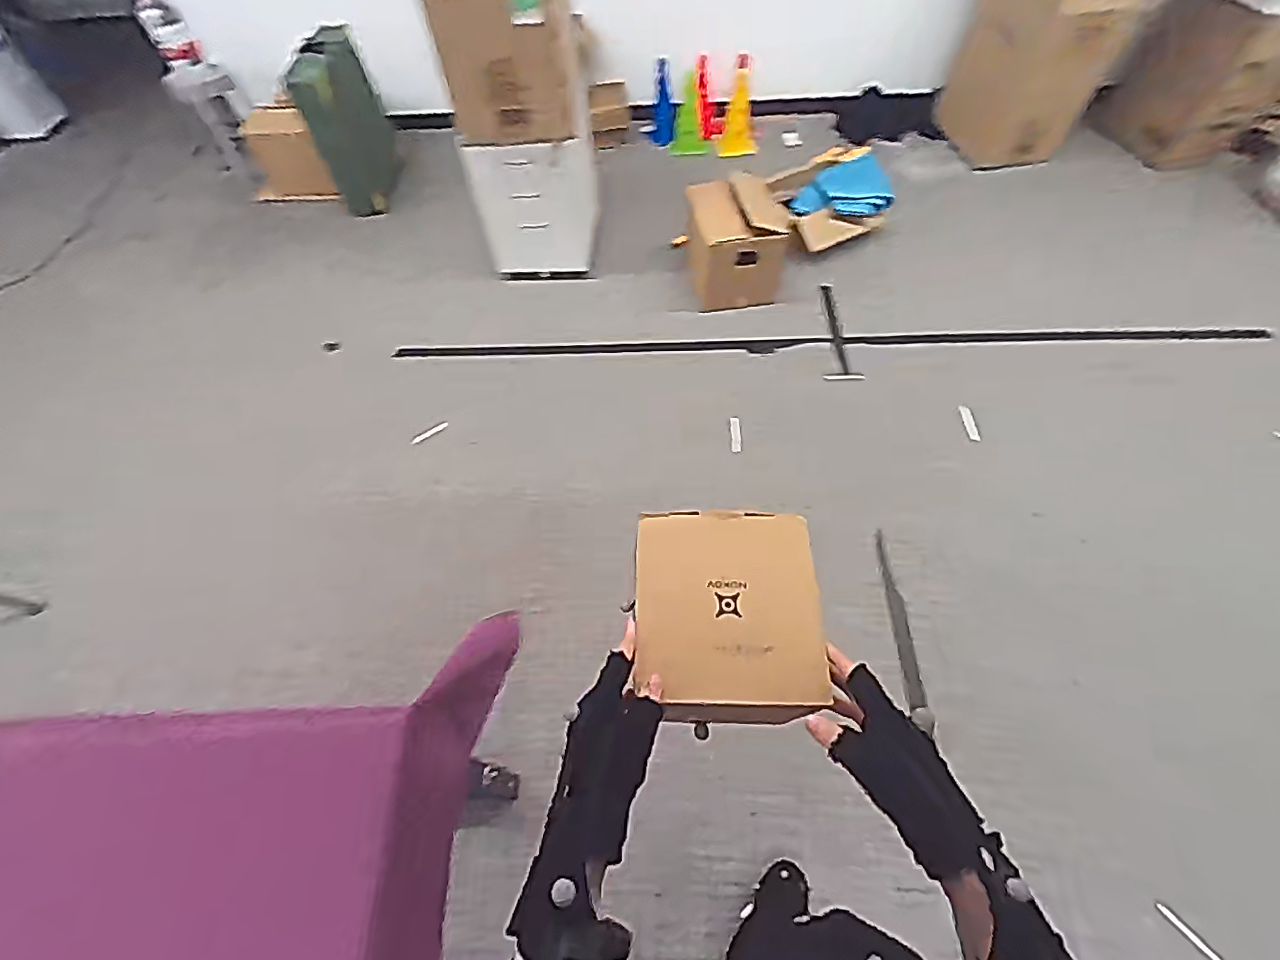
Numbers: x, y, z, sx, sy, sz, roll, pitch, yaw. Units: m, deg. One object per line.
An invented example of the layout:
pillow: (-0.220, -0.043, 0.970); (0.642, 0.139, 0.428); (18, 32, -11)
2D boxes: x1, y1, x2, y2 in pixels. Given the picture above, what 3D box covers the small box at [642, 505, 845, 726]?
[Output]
small box: (0.088, 0.143, 0.552); (0.168, 0.176, 0.179); (2, 61, 0)
